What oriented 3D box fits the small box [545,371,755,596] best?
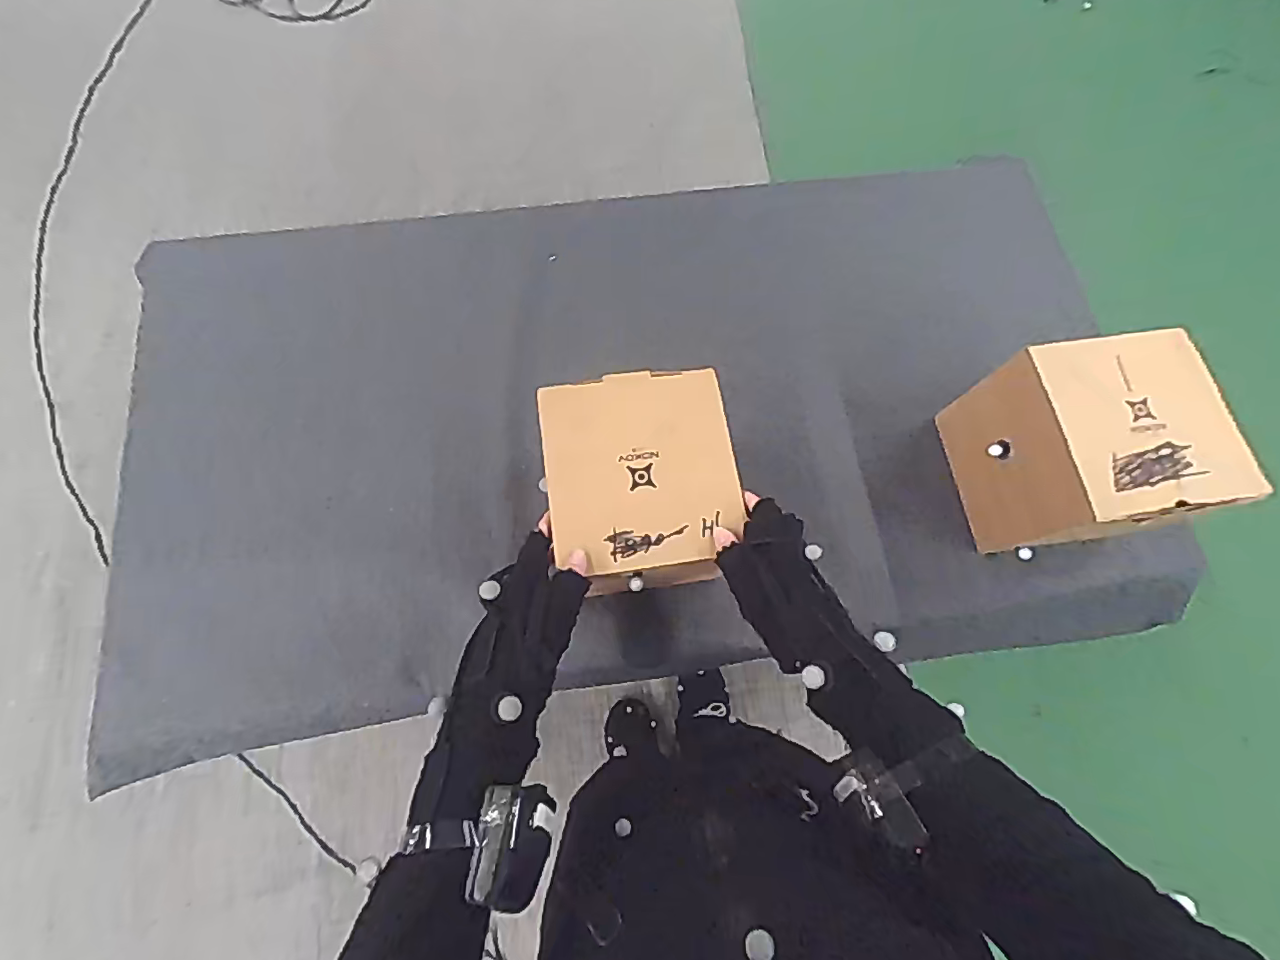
[{"bbox_3d":[0.001,0.013,0.544,0.168,0.176,0.179,-7,74,-5],"label":"small box"}]

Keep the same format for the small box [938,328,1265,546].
[{"bbox_3d":[0.457,-0.033,0.572,0.168,0.176,0.179,-7,72,-4],"label":"small box"}]
